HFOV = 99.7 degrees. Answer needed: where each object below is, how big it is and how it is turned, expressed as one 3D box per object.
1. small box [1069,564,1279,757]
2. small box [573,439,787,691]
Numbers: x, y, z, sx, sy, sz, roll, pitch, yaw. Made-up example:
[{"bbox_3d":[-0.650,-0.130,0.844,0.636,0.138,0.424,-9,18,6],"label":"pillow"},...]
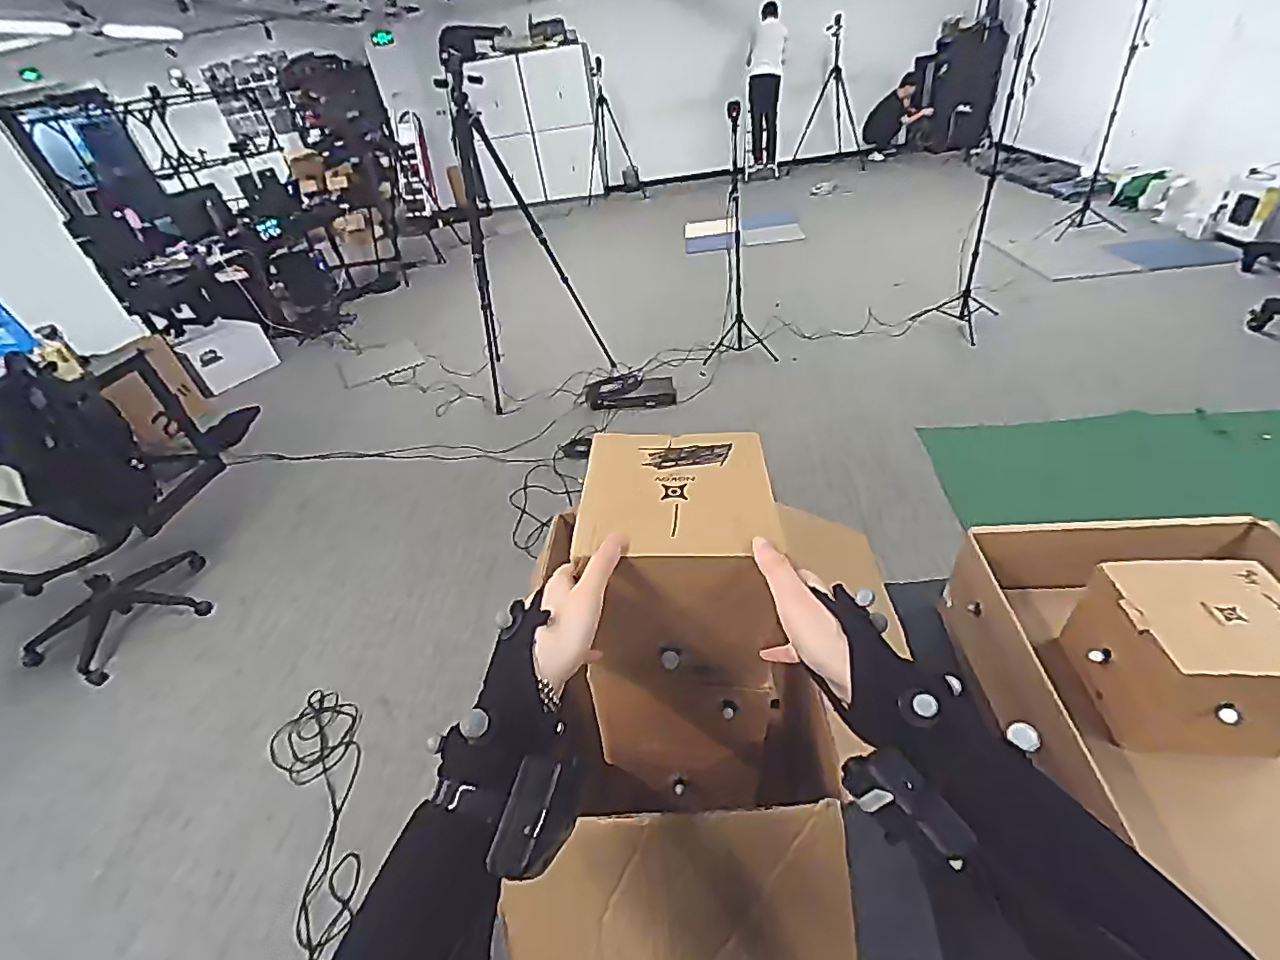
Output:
[{"bbox_3d":[0.678,0.223,0.673,0.179,0.176,0.168,-3,38,11],"label":"small box"},{"bbox_3d":[0.037,0.075,0.521,0.168,0.176,0.179,-1,37,4],"label":"small box"}]
